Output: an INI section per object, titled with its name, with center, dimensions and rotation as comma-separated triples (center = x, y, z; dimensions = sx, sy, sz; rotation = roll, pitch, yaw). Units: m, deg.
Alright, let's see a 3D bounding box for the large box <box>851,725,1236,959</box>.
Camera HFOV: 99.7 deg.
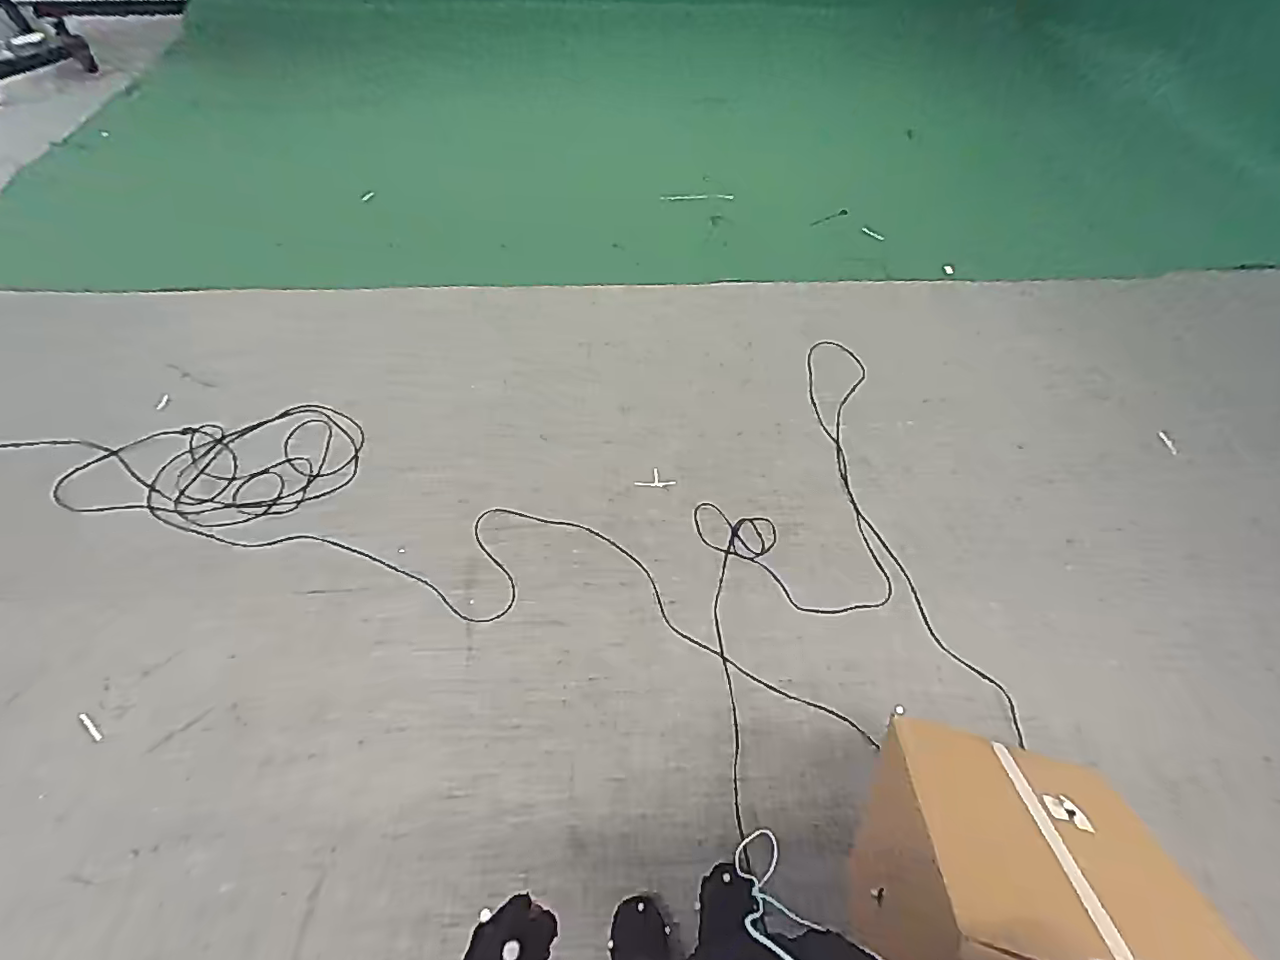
[large box]
center = 0.489, 0.616, 0.712
dimensions = 0.320, 0.408, 0.320
rotation = 15, 101, 14
